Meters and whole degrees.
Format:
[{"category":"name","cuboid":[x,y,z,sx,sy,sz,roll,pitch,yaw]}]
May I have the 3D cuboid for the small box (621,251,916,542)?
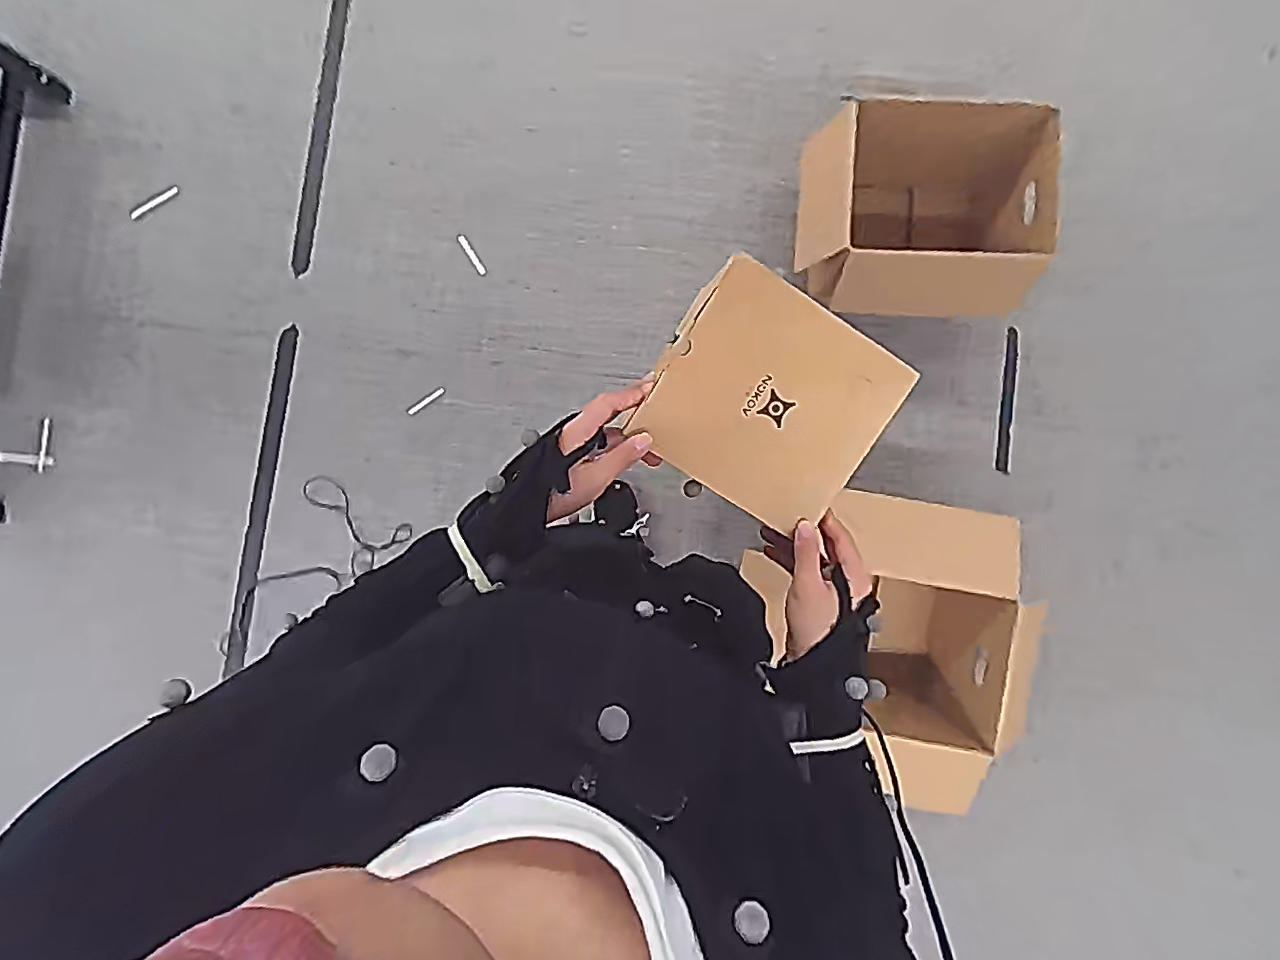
[{"category":"small box","cuboid":[0.098,-0.074,0.496,0.179,0.176,0.168,31,97,-7]}]
